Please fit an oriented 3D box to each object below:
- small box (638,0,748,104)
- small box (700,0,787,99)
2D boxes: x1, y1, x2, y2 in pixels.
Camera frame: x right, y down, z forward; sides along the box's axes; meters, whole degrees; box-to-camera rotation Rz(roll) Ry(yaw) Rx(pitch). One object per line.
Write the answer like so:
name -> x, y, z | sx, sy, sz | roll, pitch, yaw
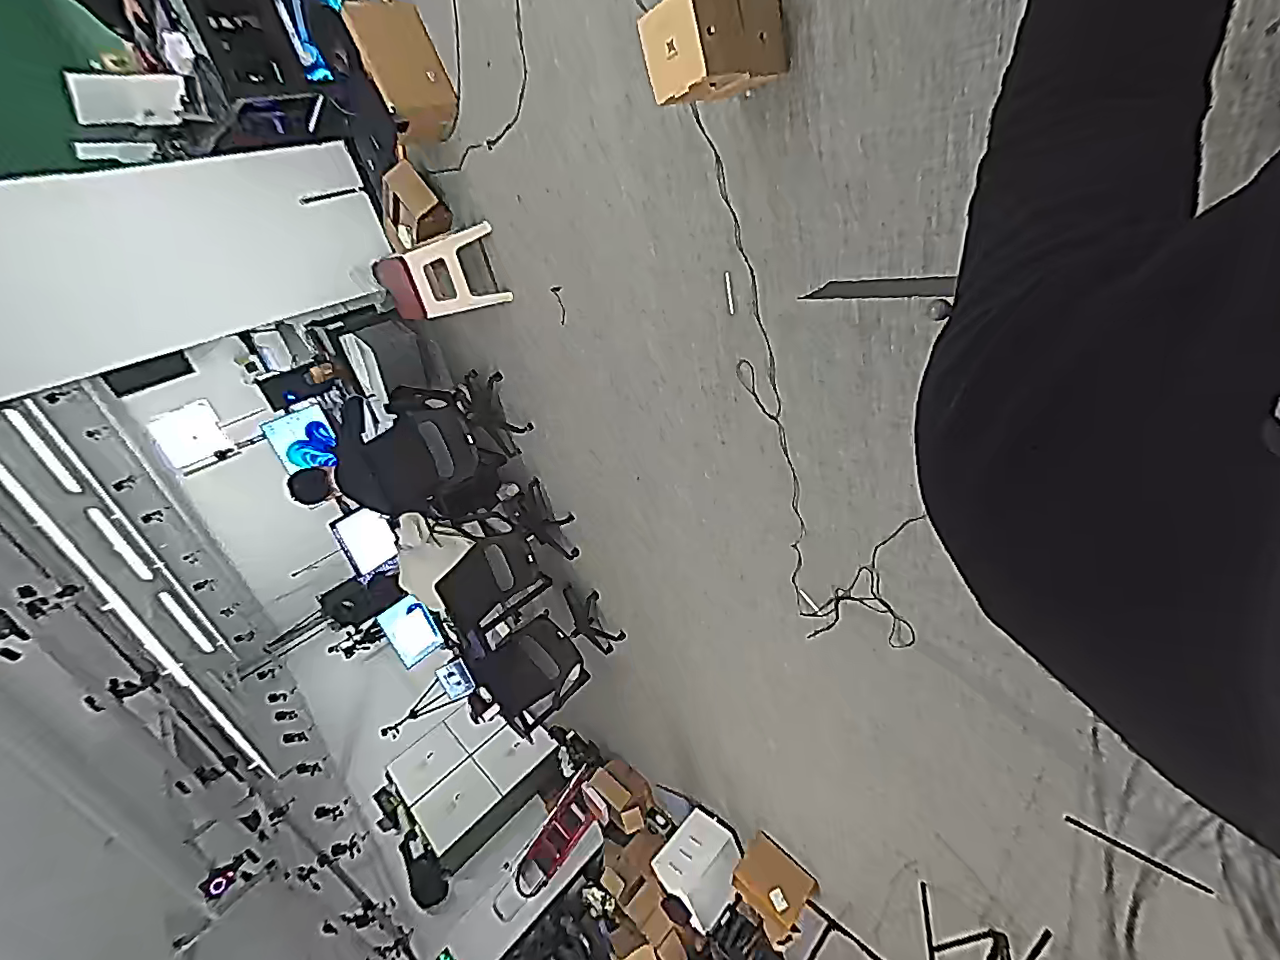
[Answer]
small box -> 0.129, -1.014, 1.260 | 0.168, 0.176, 0.179 | 9, 125, 48
small box -> 0.246, -1.086, 1.349 | 0.168, 0.176, 0.179 | 14, 129, 47
